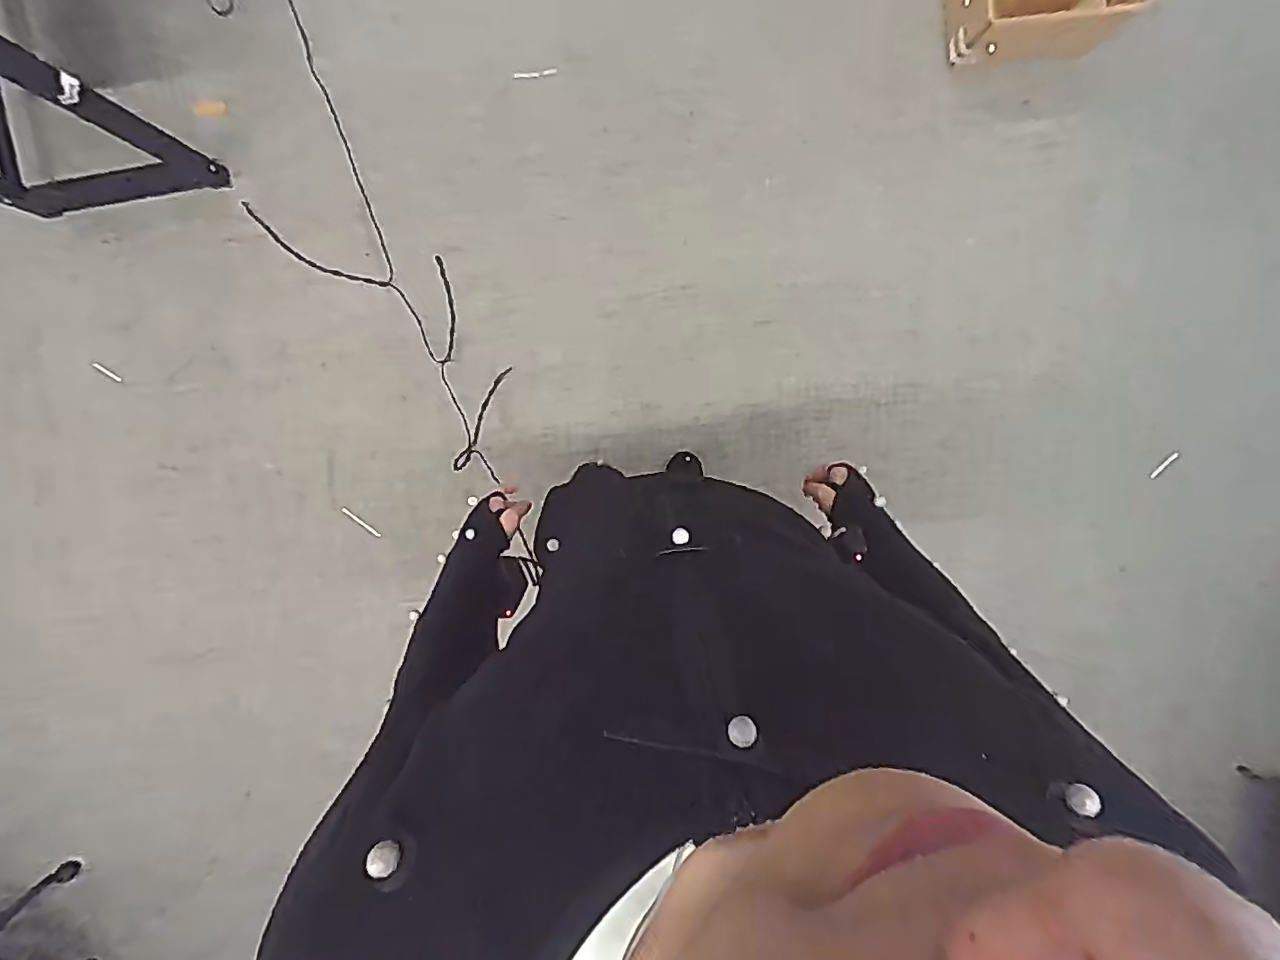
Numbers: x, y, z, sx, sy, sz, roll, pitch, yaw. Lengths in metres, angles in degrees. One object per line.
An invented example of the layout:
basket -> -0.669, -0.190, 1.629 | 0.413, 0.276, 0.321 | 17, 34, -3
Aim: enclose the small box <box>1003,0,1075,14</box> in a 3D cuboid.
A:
small box -> 1.023, -1.285, 1.318 | 0.179, 0.176, 0.168 | -2, 96, 3
